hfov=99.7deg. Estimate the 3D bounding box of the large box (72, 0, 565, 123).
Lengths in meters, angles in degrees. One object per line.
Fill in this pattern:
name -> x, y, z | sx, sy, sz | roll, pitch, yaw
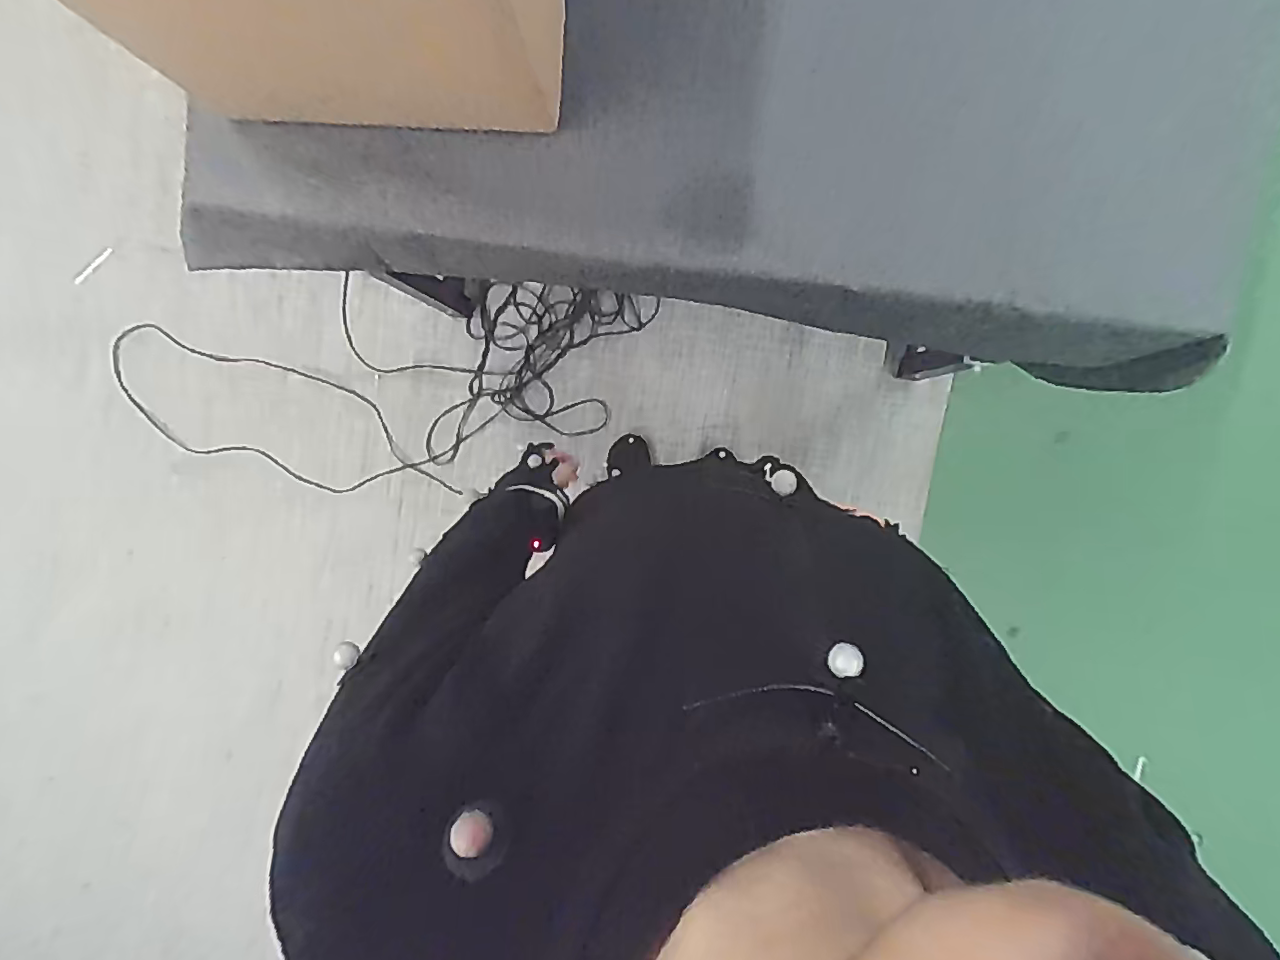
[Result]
large box -> -0.284, -0.551, 0.462 | 0.408, 0.320, 0.320 | 3, 96, 1
